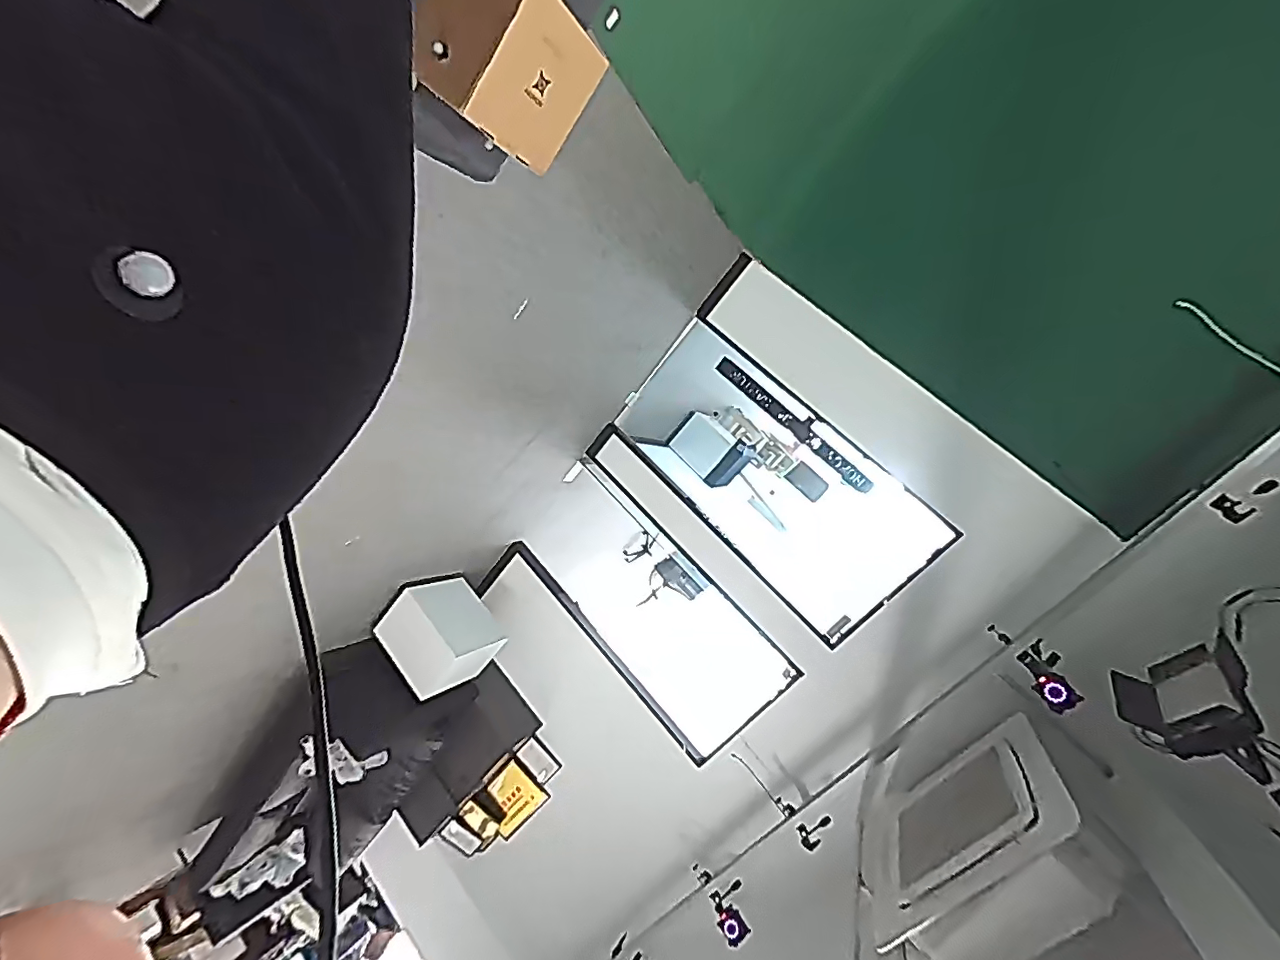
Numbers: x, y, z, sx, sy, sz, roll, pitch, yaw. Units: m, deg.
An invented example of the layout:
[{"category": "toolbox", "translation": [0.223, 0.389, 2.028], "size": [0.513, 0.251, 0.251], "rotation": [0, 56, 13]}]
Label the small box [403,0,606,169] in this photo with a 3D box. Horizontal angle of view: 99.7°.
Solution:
[{"category": "small box", "translation": [-0.186, -0.577, 0.730], "size": [0.179, 0.176, 0.168], "rotation": [-51, 161, 18]}]
